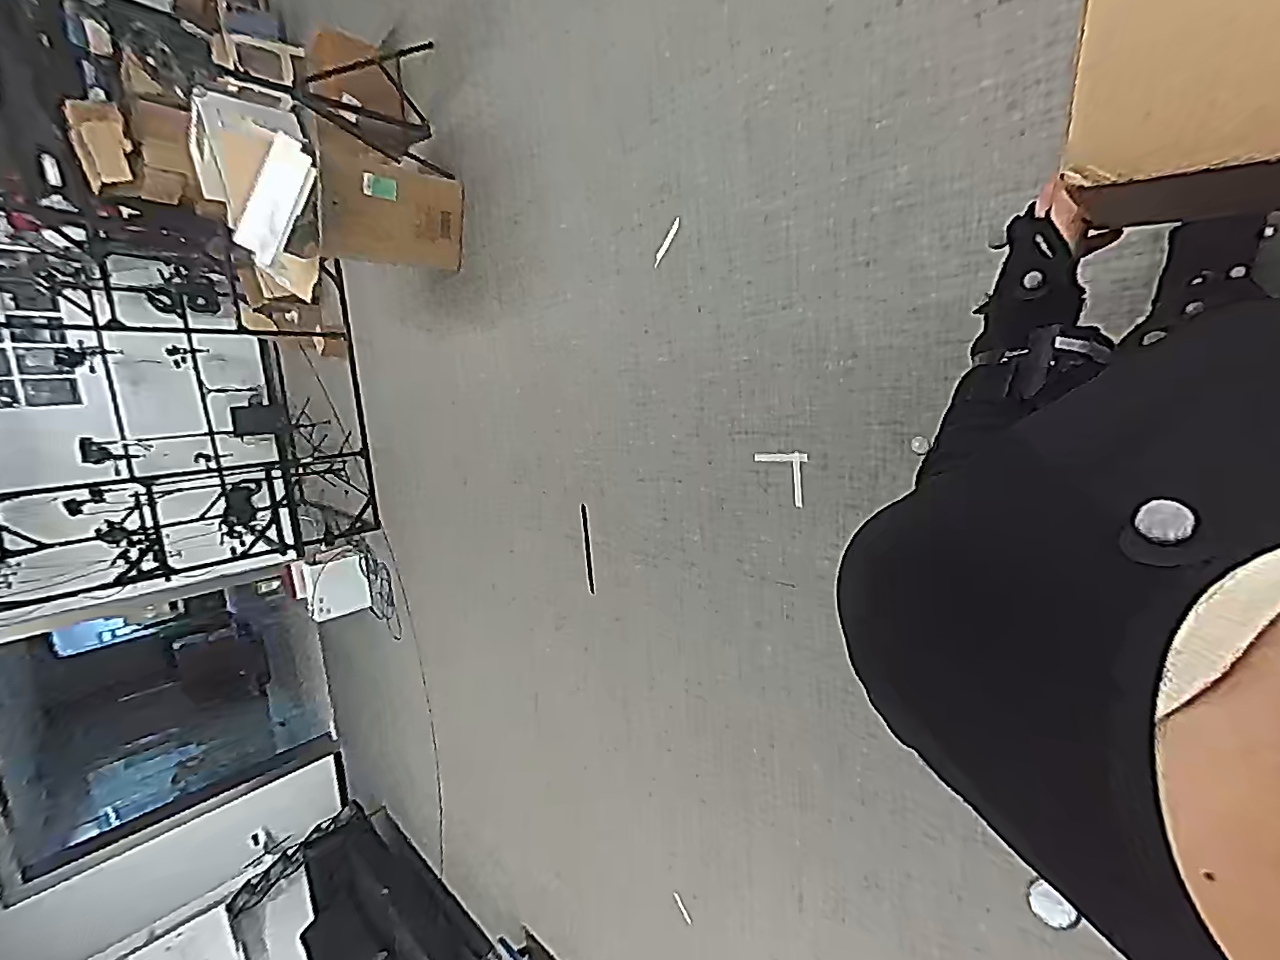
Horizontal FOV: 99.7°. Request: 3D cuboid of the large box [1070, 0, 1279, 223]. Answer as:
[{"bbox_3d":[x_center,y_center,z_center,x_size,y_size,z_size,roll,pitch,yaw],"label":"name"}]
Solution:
[{"bbox_3d":[0.433,-0.304,0.197,0.408,0.320,0.320,10,113,38],"label":"large box"}]
